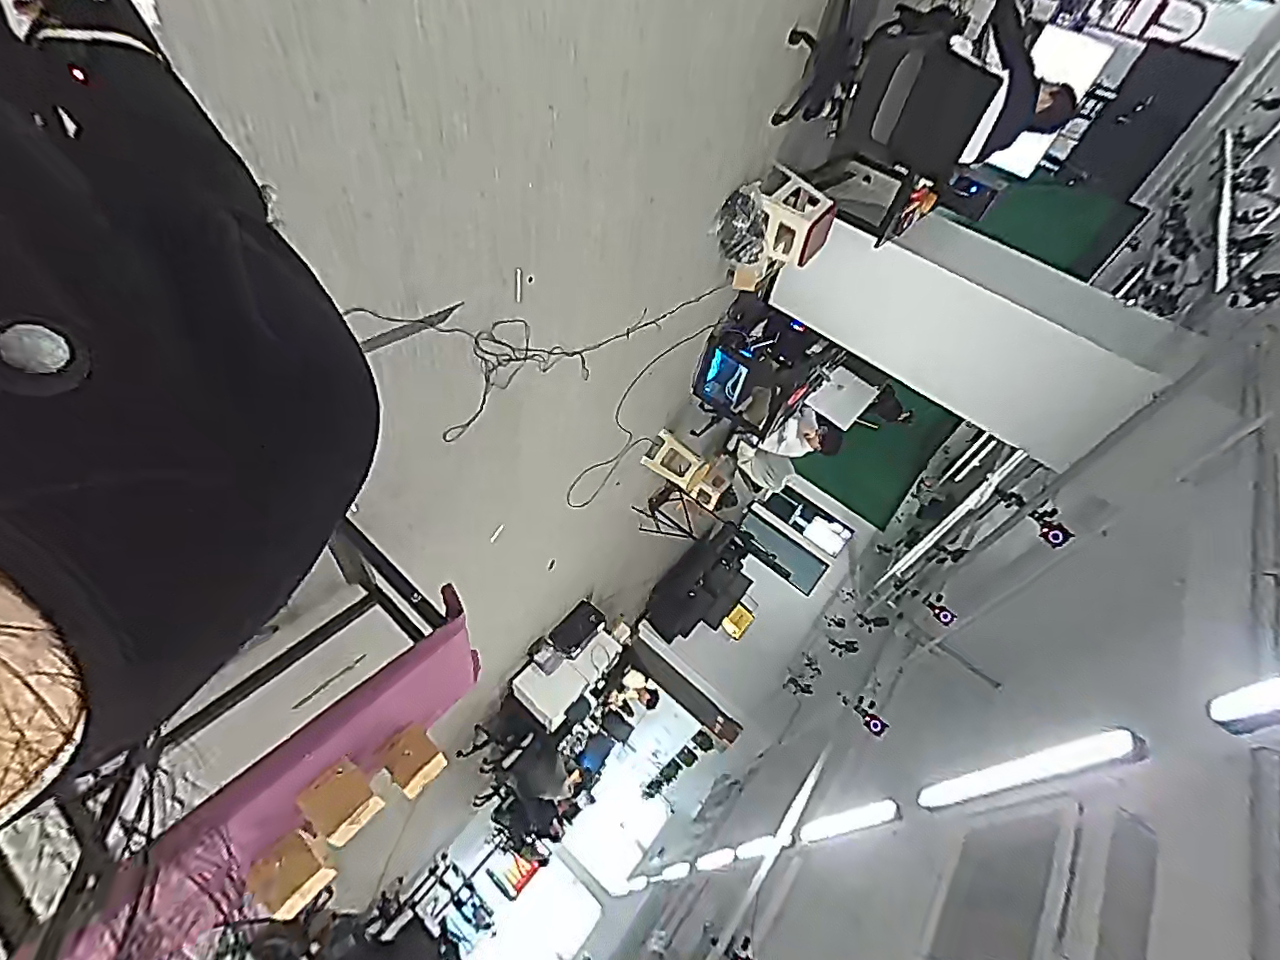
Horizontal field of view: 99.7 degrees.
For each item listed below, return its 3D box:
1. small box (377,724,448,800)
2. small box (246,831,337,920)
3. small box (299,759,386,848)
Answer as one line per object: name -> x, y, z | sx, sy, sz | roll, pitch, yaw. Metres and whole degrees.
small box -> -0.843, 1.038, 2.002 | 0.168, 0.176, 0.179 | -39, 155, -34
small box -> -1.128, 1.281, 1.755 | 0.168, 0.176, 0.179 | -41, 157, -35
small box -> -0.951, 1.032, 1.730 | 0.168, 0.176, 0.179 | -39, 158, -35
